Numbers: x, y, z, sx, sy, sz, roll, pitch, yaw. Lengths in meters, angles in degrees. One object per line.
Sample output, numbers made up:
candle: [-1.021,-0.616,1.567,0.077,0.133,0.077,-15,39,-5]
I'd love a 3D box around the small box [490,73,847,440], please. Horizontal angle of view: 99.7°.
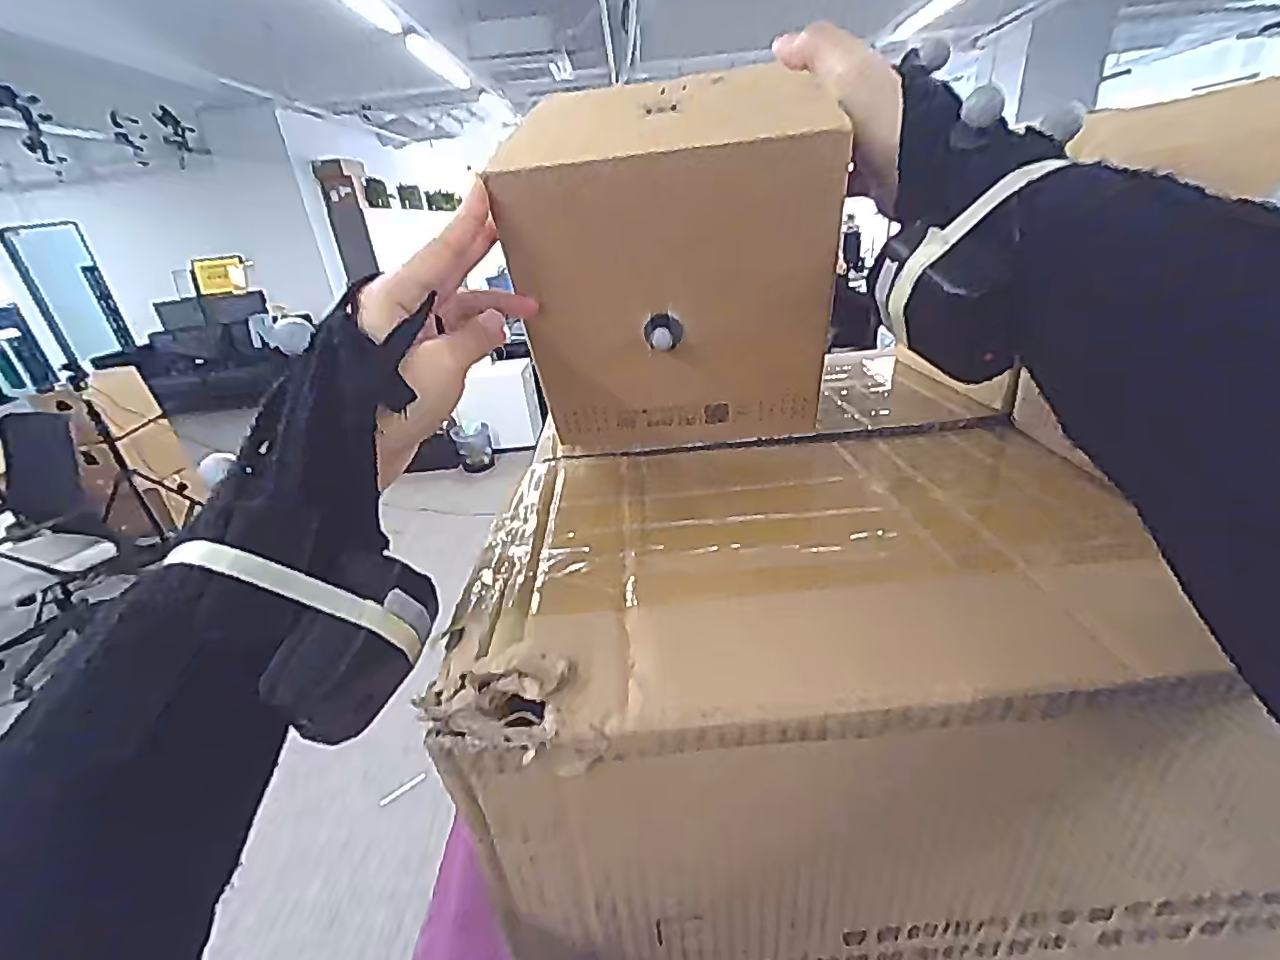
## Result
small box: [0.026,-0.137,0.353,0.168,0.176,0.179,-2,44,7]

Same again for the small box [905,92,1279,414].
small box: [0.310,-0.152,0.388,0.179,0.176,0.168,-6,25,1]
